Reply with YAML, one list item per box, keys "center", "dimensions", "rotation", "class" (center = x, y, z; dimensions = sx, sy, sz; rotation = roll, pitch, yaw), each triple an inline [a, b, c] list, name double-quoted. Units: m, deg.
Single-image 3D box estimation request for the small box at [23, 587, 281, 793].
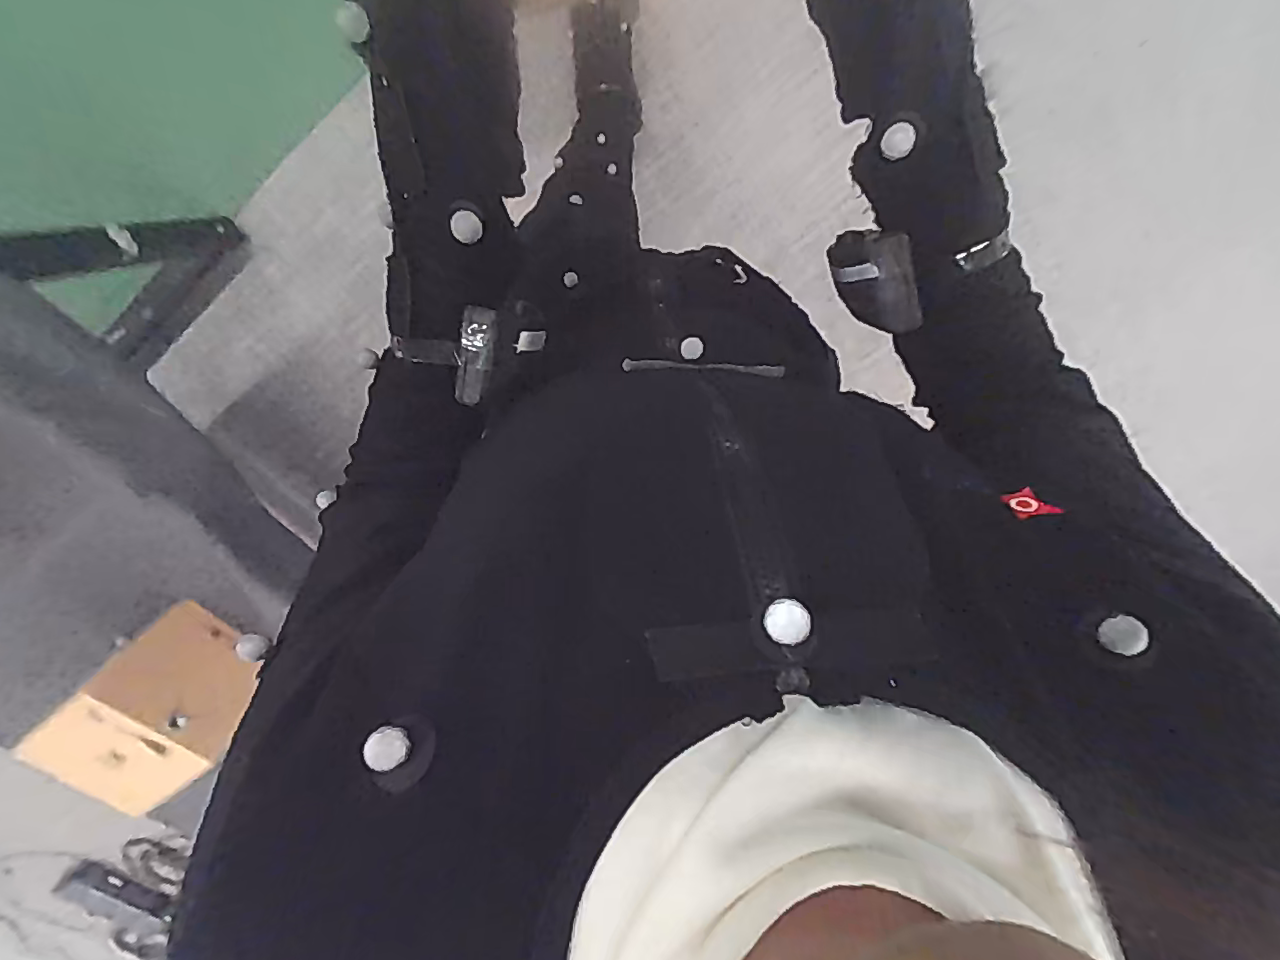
- center: [-0.648, 0.284, 0.744]
  dimensions: [0.179, 0.176, 0.168]
  rotation: [-33, 115, 17]
  class: "small box"
